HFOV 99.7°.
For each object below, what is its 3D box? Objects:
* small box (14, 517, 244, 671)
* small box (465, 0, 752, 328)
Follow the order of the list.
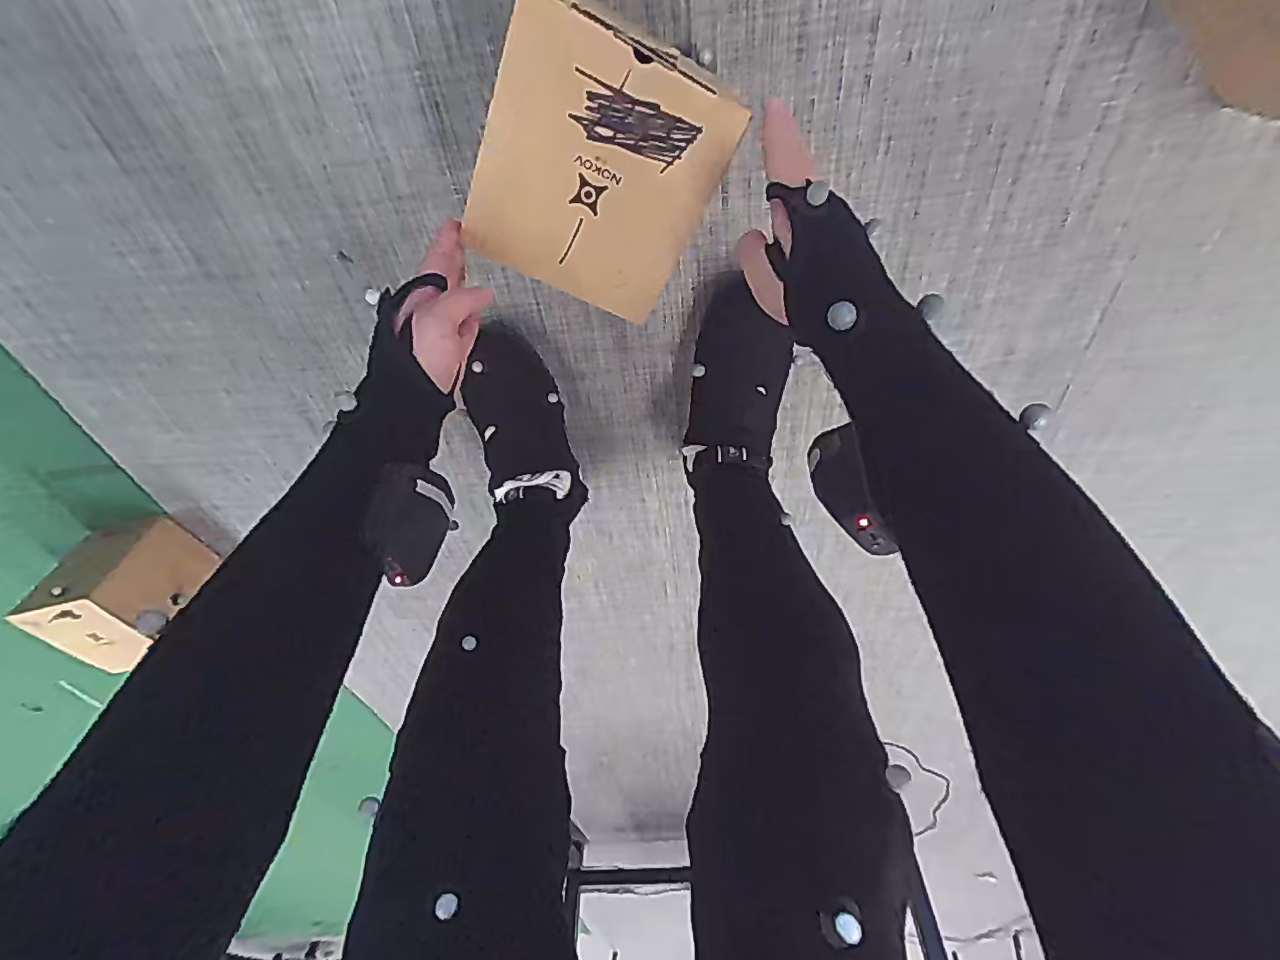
[{"bbox_3d":[-0.810,0.187,0.884,0.168,0.176,0.179,-12,131,12],"label":"small box"},{"bbox_3d":[-0.031,-0.271,0.461,0.168,0.176,0.179,20,130,-16],"label":"small box"}]
